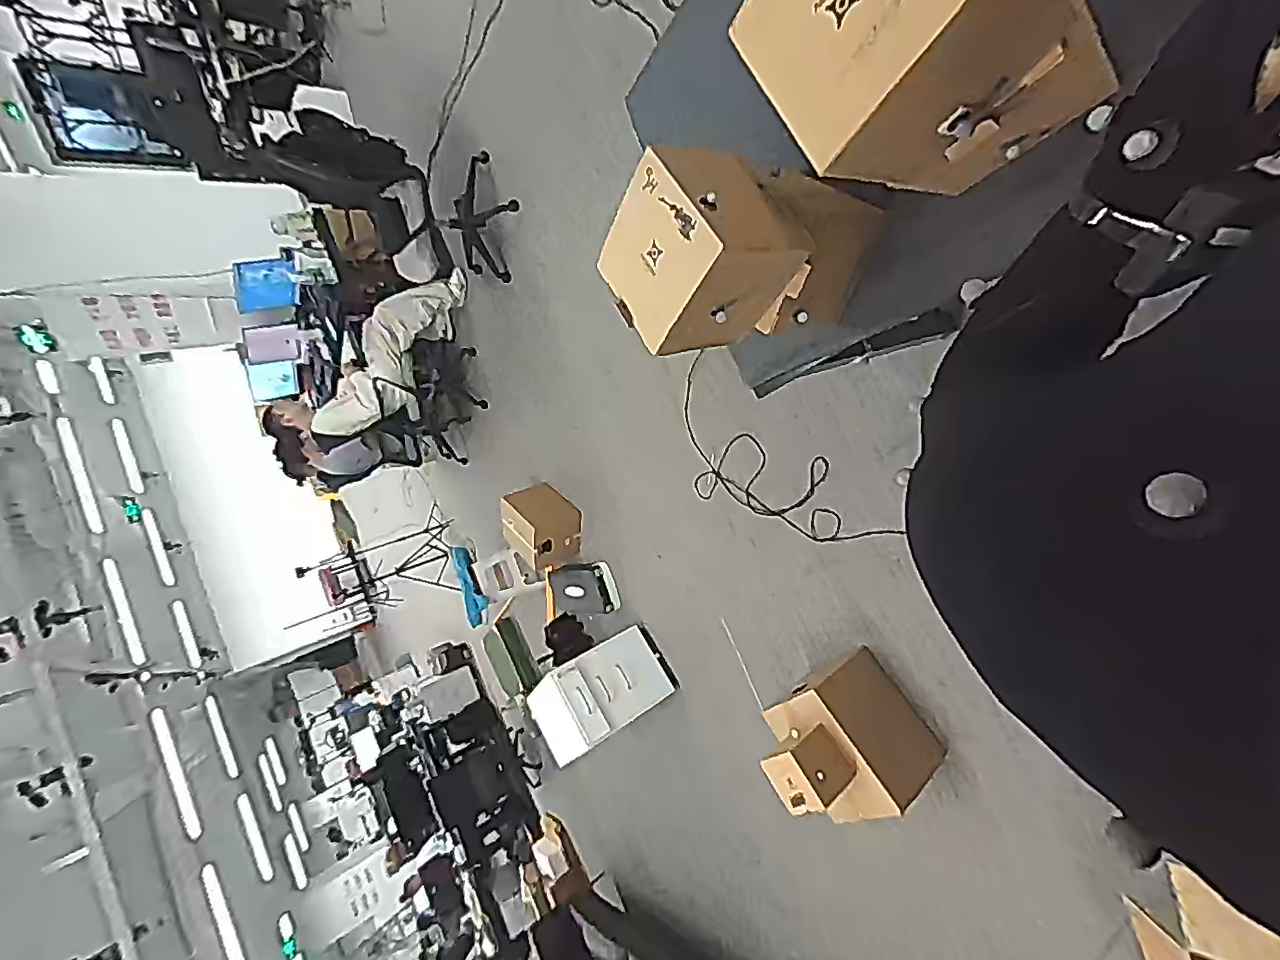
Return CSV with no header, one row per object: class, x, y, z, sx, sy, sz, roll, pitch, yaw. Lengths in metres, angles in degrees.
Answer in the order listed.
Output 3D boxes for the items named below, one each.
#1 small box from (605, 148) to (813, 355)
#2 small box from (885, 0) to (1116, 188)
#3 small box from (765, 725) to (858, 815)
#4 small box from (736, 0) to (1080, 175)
small box,0.085,-0.289,0.700,0.168,0.176,0.179,60,144,17
small box,0.347,-0.434,0.564,0.168,0.176,0.179,-24,85,56
small box,0.530,0.891,1.664,0.179,0.176,0.168,57,141,20
small box,0.223,-0.392,0.467,0.179,0.176,0.168,63,145,12
